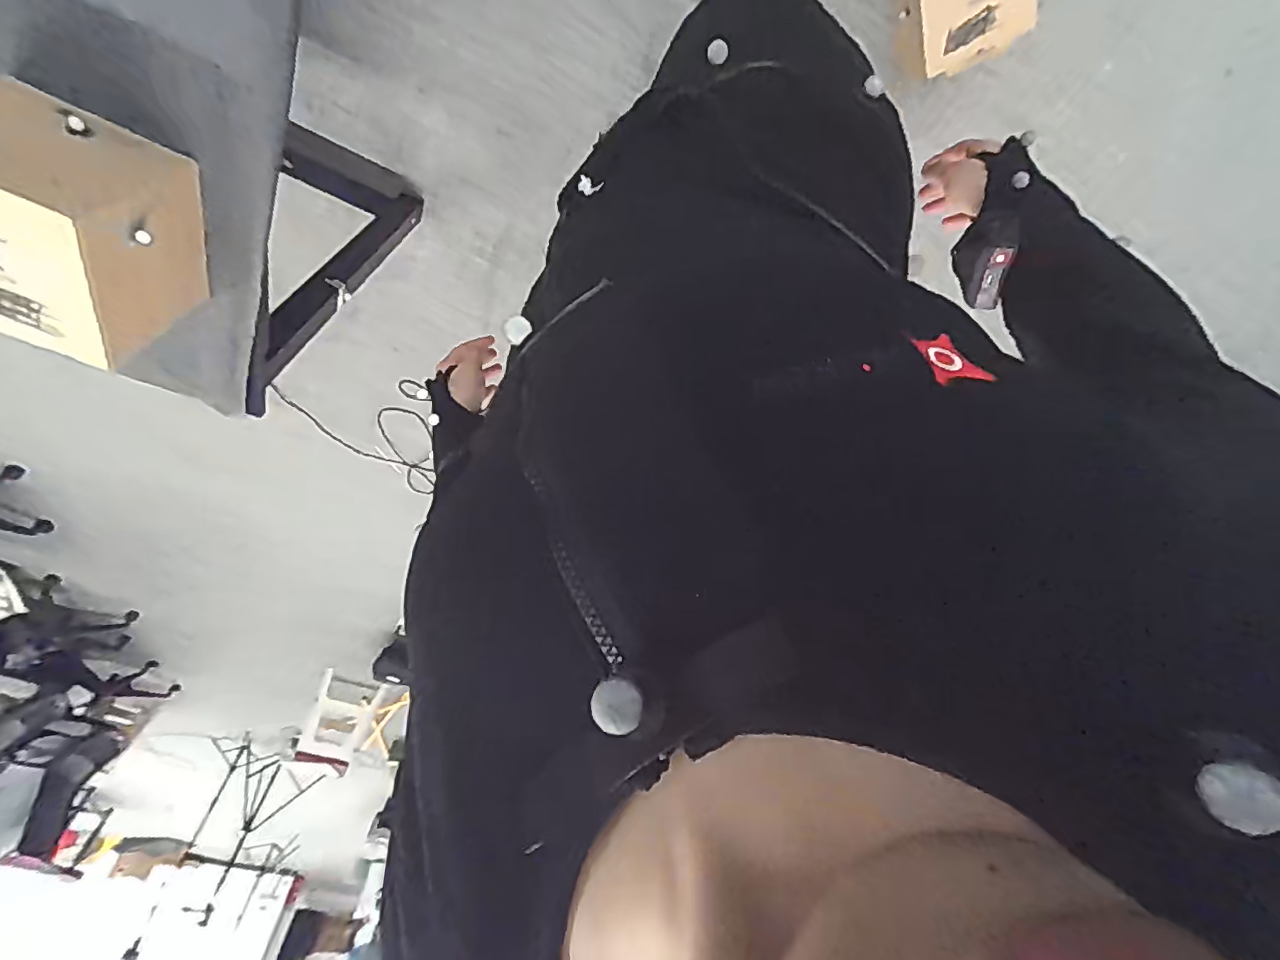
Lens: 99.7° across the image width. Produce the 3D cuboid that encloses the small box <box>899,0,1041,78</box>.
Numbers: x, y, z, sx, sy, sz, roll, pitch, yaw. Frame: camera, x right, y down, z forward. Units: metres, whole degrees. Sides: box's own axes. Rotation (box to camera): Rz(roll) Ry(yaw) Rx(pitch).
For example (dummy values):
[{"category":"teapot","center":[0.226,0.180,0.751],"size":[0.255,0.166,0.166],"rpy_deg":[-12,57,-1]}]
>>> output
[{"category":"small box","center":[0.540,-0.821,0.899],"size":[0.168,0.176,0.179],"rpy_deg":[-16,131,21]}]
